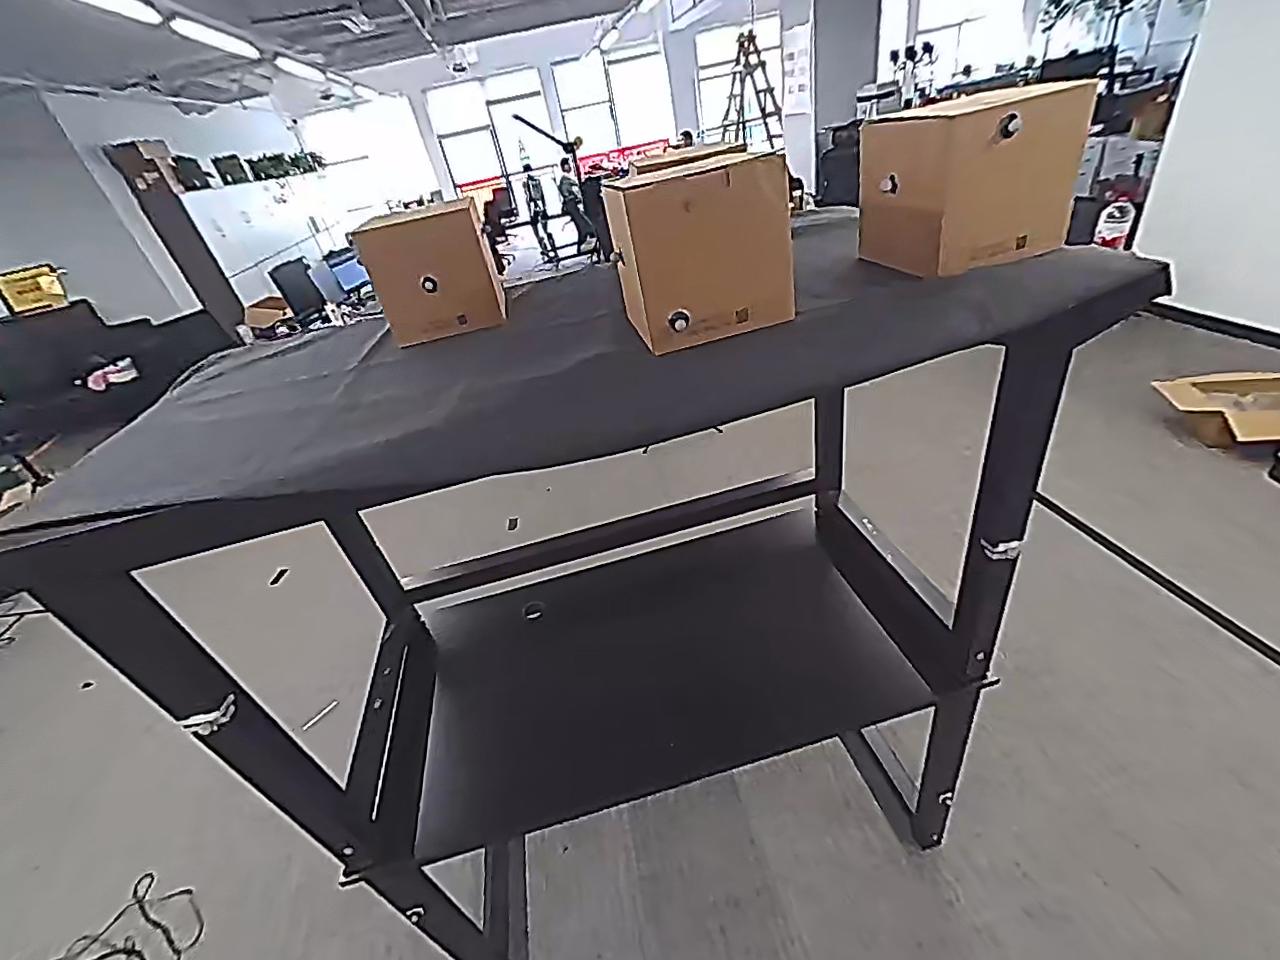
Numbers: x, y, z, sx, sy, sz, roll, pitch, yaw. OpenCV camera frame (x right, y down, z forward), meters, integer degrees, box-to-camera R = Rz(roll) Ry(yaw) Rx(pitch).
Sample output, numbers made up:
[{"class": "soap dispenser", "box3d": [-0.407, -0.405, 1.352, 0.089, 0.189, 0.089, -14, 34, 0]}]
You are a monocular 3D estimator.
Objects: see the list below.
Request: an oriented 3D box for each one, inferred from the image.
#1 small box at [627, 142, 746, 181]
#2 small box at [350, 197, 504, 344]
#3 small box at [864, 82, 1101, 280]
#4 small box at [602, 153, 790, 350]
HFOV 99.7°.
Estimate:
[{"class": "small box", "box3d": [0.080, -0.437, 0.885, 0.168, 0.176, 0.179, -11, 33, 0]}, {"class": "small box", "box3d": [-0.316, -0.326, 0.846, 0.168, 0.176, 0.179, -15, 34, -5]}, {"class": "small box", "box3d": [0.389, -0.354, 0.655, 0.168, 0.176, 0.179, -16, 33, -4]}, {"class": "small box", "box3d": [0.063, -0.262, 0.625, 0.168, 0.176, 0.179, -15, 31, -3]}]
